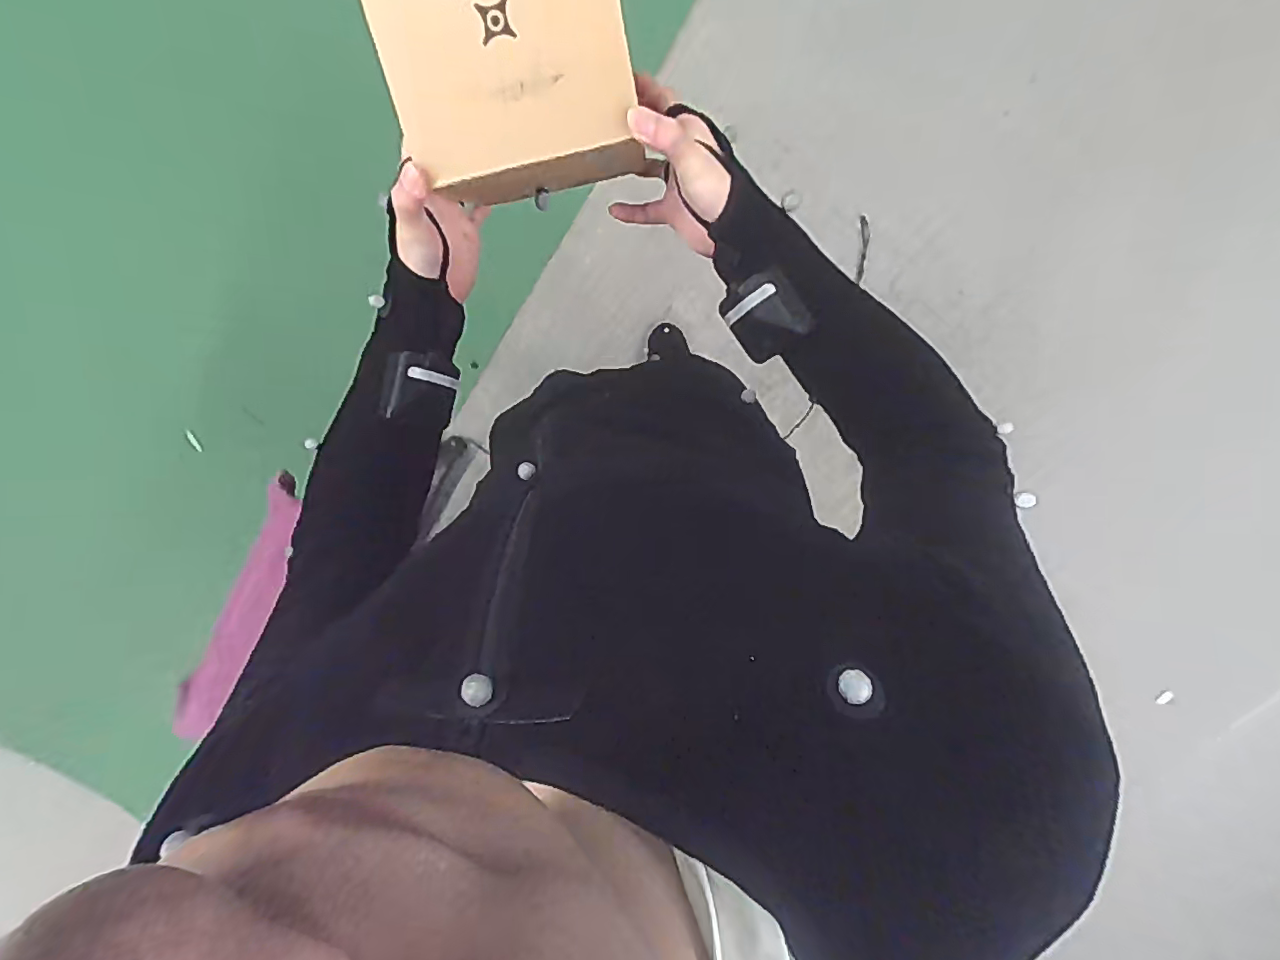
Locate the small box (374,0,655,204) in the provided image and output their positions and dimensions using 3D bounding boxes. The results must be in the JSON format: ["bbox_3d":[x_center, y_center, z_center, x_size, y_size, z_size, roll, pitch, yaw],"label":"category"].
[{"bbox_3d":[-0.083,-0.325,0.412,0.168,0.176,0.179,-8,112,4],"label":"small box"}]
